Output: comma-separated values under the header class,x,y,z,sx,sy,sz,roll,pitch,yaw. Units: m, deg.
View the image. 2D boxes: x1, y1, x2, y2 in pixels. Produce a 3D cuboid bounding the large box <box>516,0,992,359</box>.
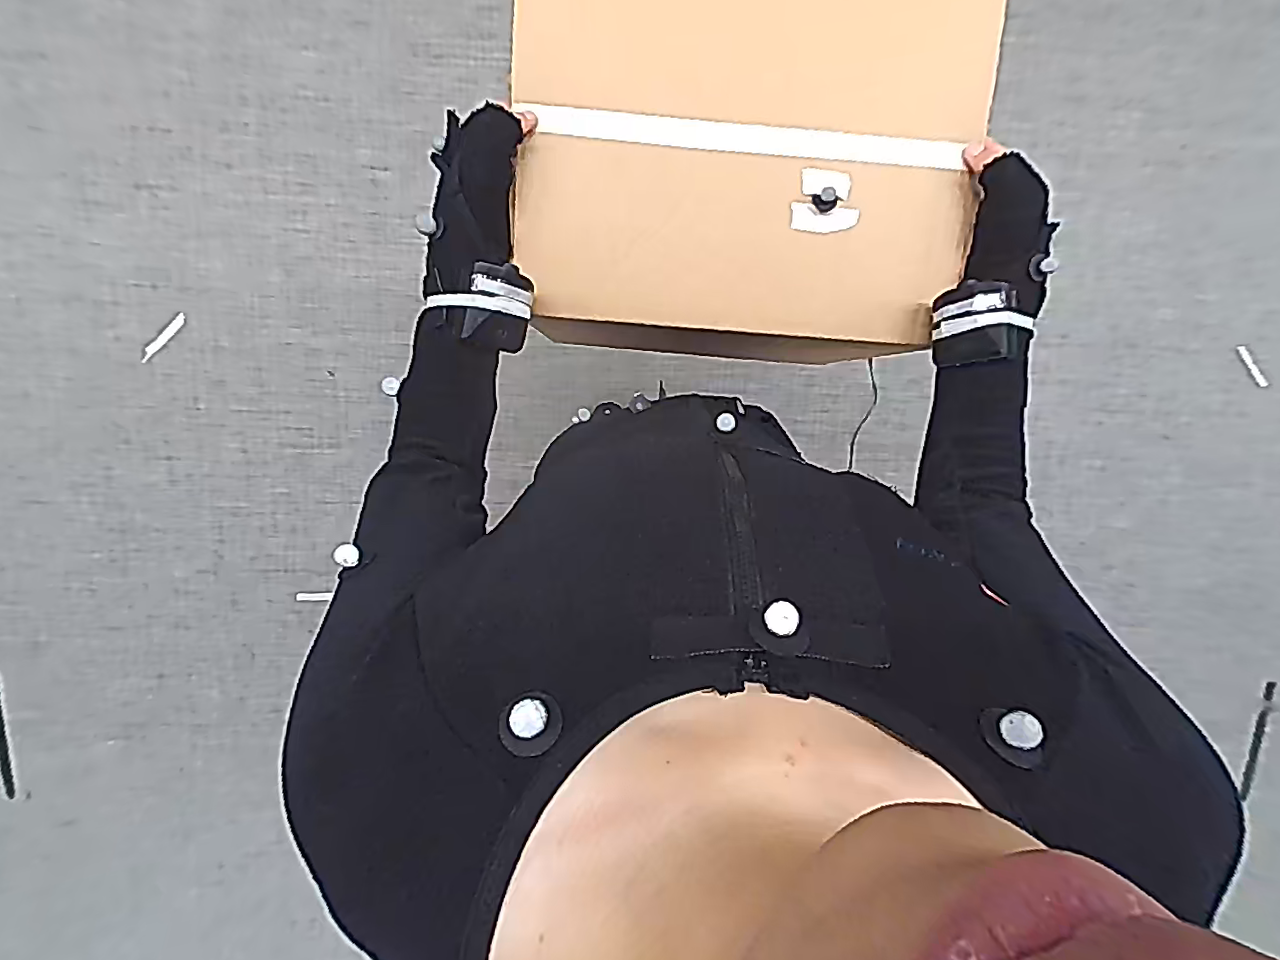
class,x,y,z,sx,sy,sz,roll,pitch,yaw
large box,0.086,-0.313,0.612,0.408,0.320,0.320,3,99,-4
